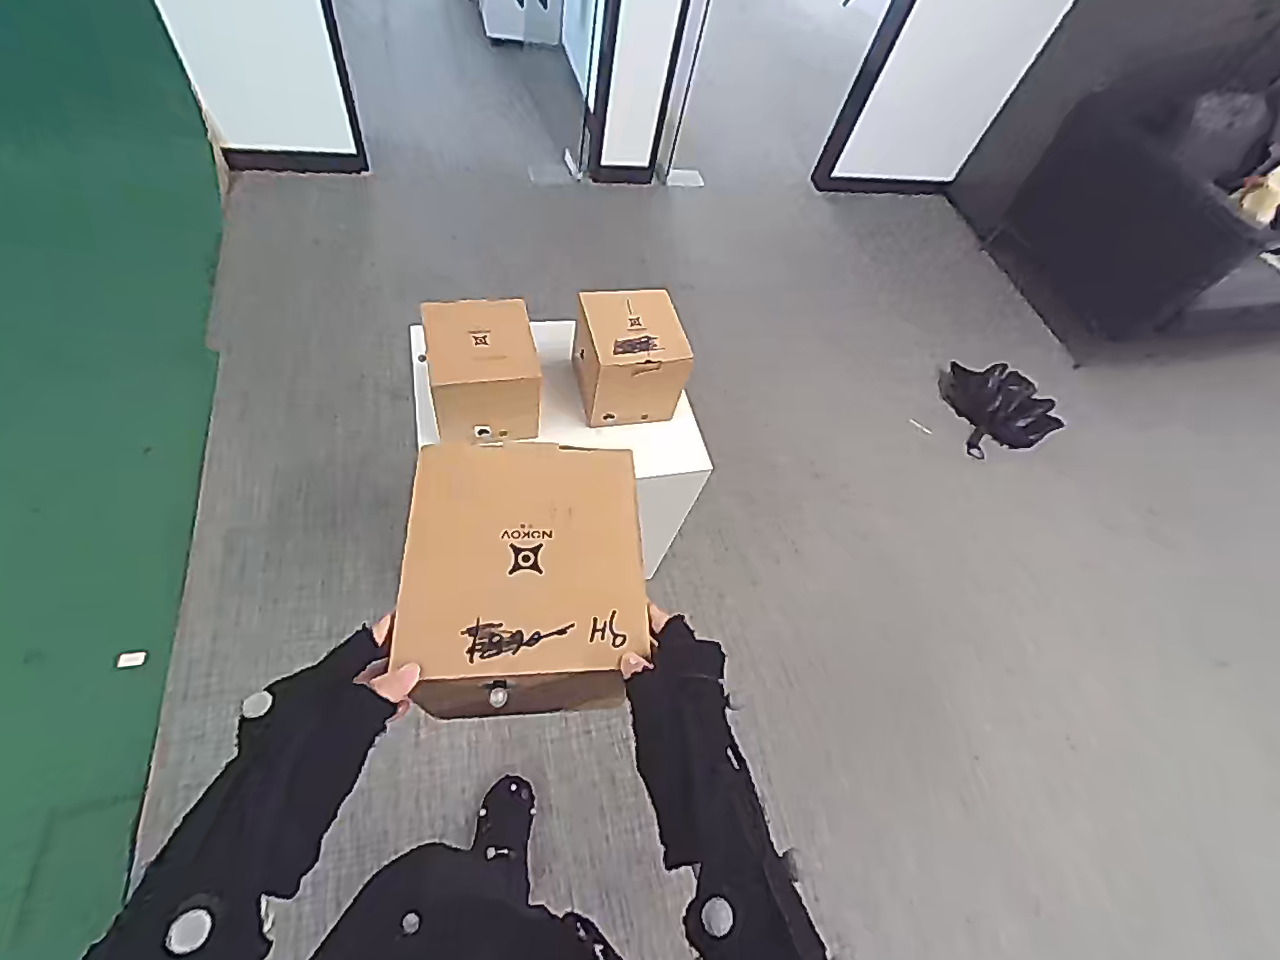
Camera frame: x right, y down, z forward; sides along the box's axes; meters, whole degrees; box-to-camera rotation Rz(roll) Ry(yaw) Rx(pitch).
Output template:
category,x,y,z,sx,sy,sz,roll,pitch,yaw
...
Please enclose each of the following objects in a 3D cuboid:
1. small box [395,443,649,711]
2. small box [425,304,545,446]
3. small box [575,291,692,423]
category,x,y,z,sx,sy,sz,roll,pitch,yaw
small box,-0.091,0.087,0.460,0.168,0.176,0.179,0,60,-9
small box,-0.261,-0.171,0.916,0.168,0.176,0.179,-10,63,-17
small box,-0.022,-0.219,0.990,0.168,0.176,0.179,-9,60,-16
